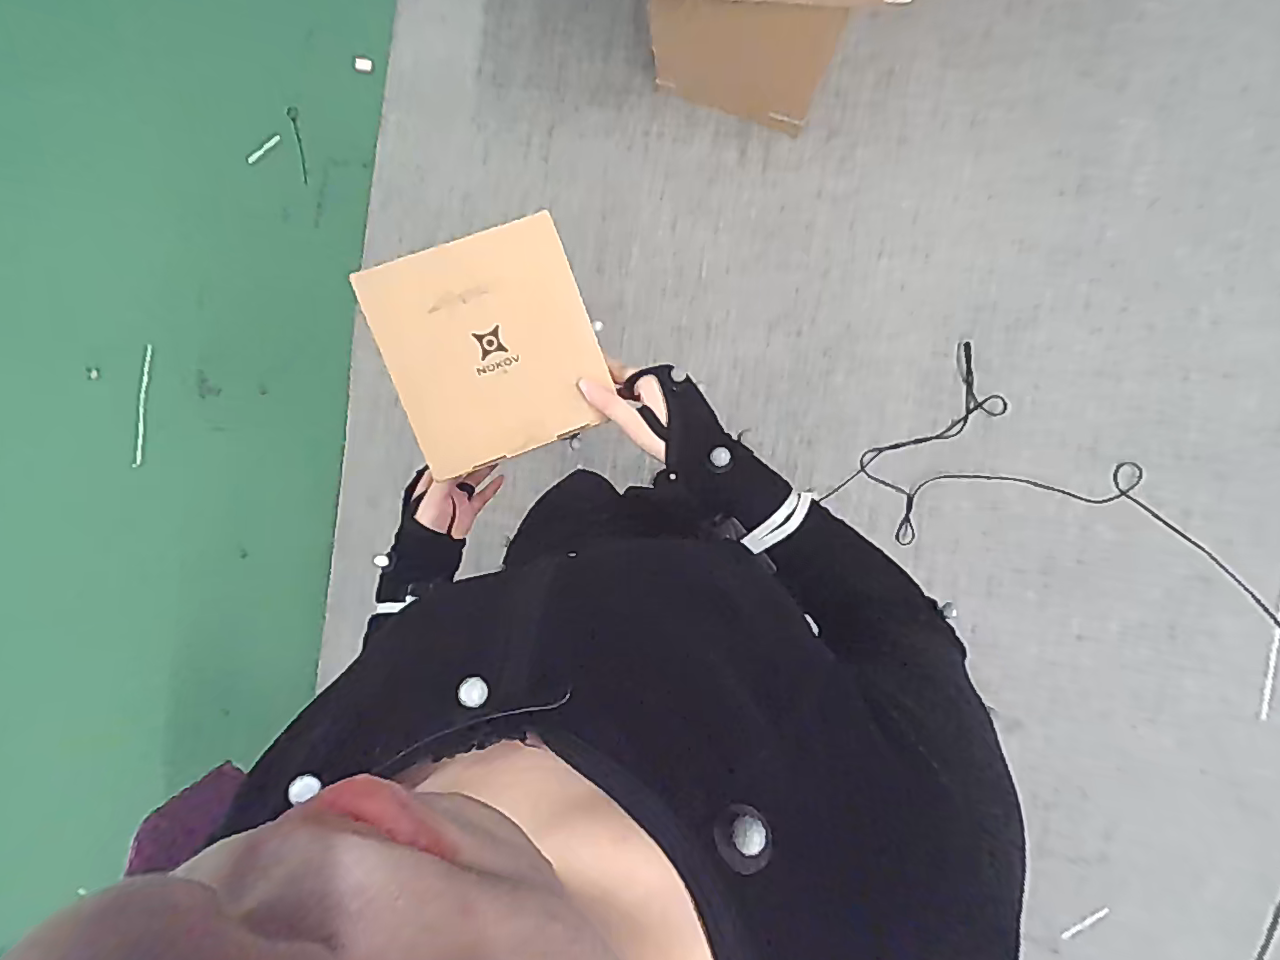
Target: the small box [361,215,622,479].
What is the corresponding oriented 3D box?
[{"bbox_3d":[-0.126,-0.115,0.518,0.168,0.176,0.179,-20,97,-6],"label":"small box"}]
